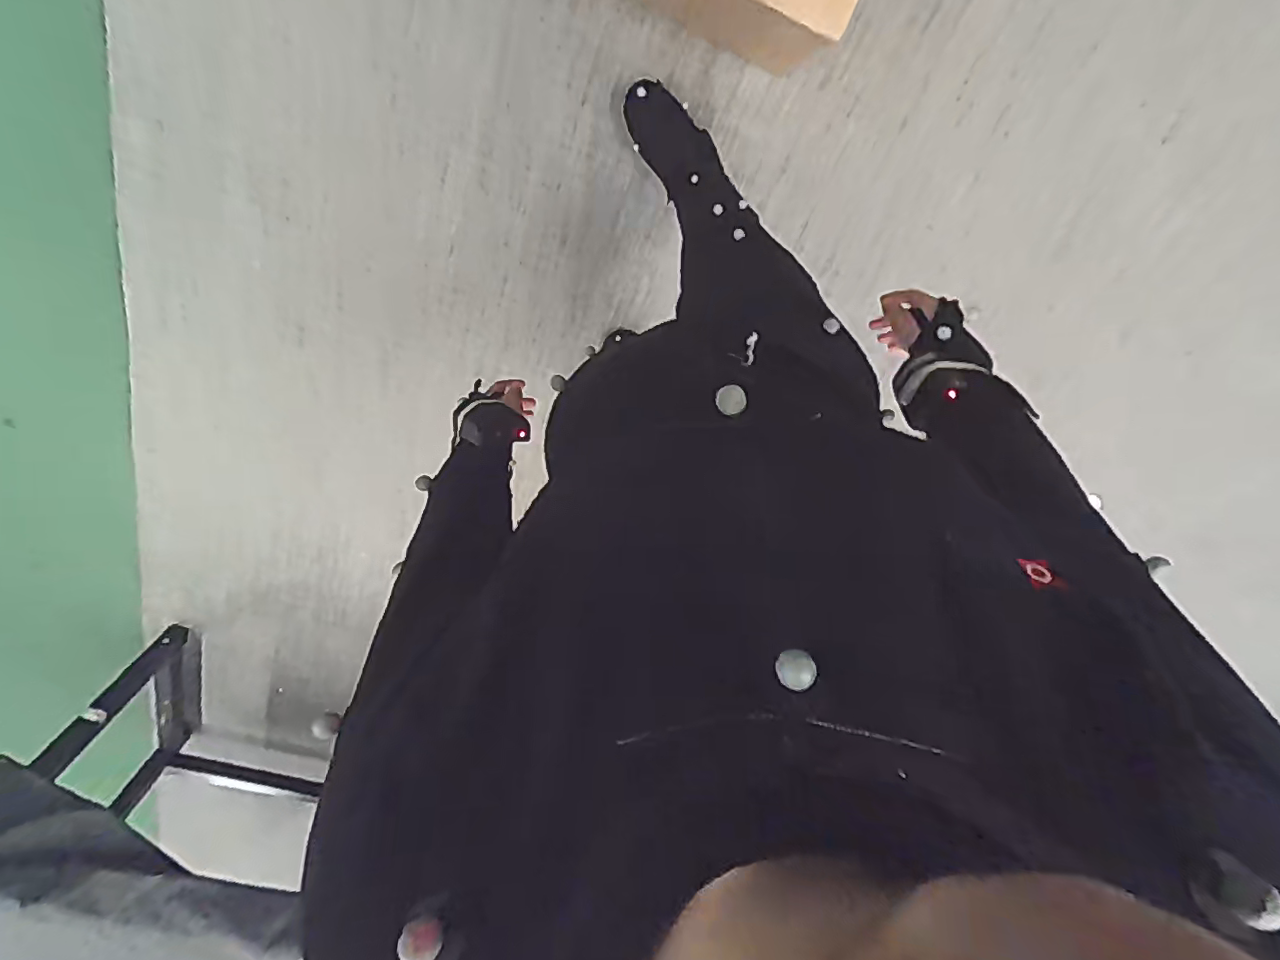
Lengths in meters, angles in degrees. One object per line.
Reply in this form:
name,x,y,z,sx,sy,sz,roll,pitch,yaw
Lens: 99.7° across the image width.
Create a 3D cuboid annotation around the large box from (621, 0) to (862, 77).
large box,0.146,-0.865,0.785,0.408,0.320,0.320,18,118,-12
